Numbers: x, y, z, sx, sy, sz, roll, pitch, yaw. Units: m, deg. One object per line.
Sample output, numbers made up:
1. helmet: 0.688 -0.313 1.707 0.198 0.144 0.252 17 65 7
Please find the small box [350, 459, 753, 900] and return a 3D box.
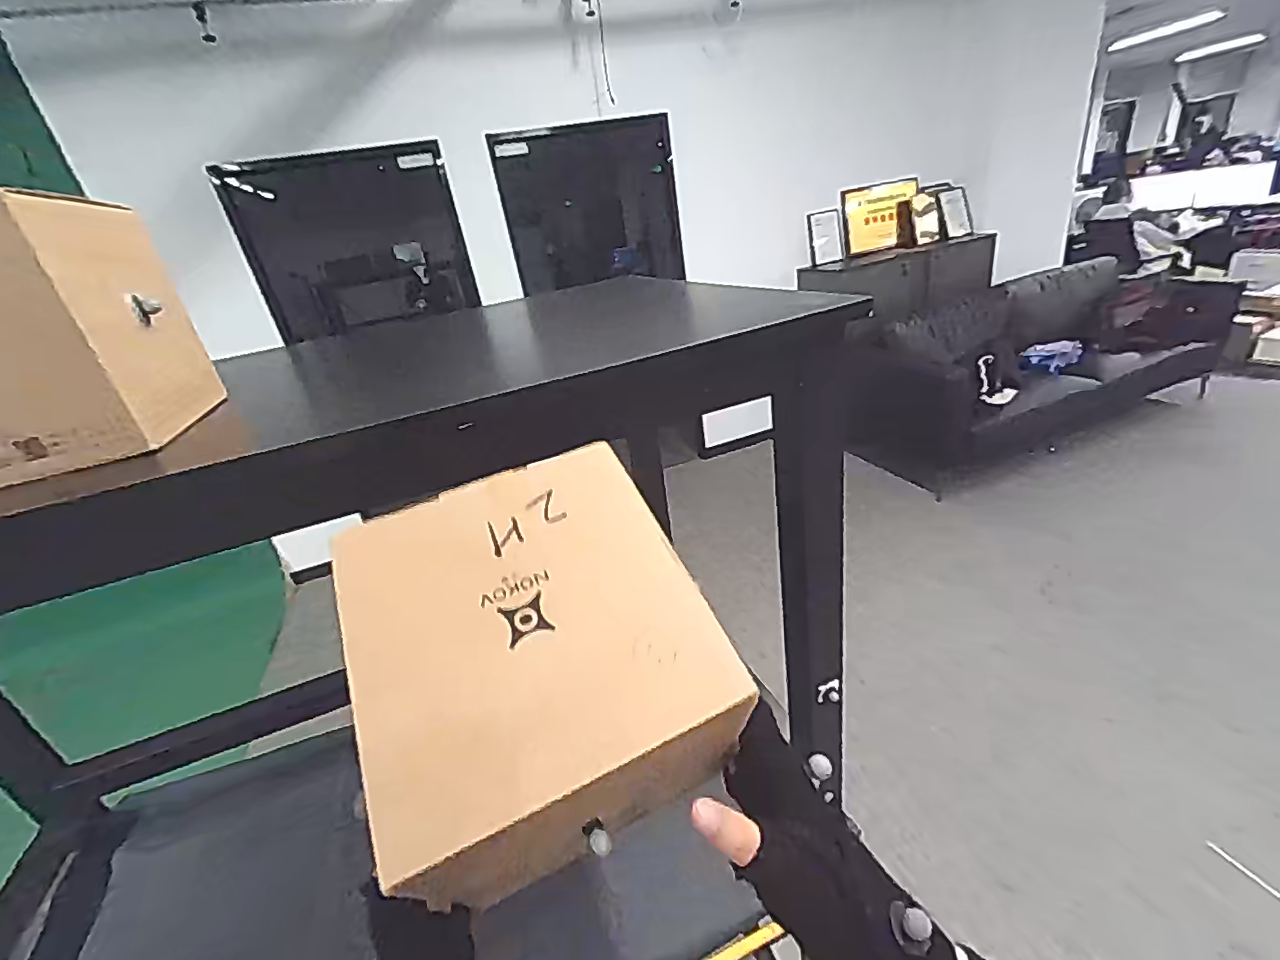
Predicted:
1. small box: -0.053 0.123 0.338 0.168 0.176 0.179 -20 53 -16
